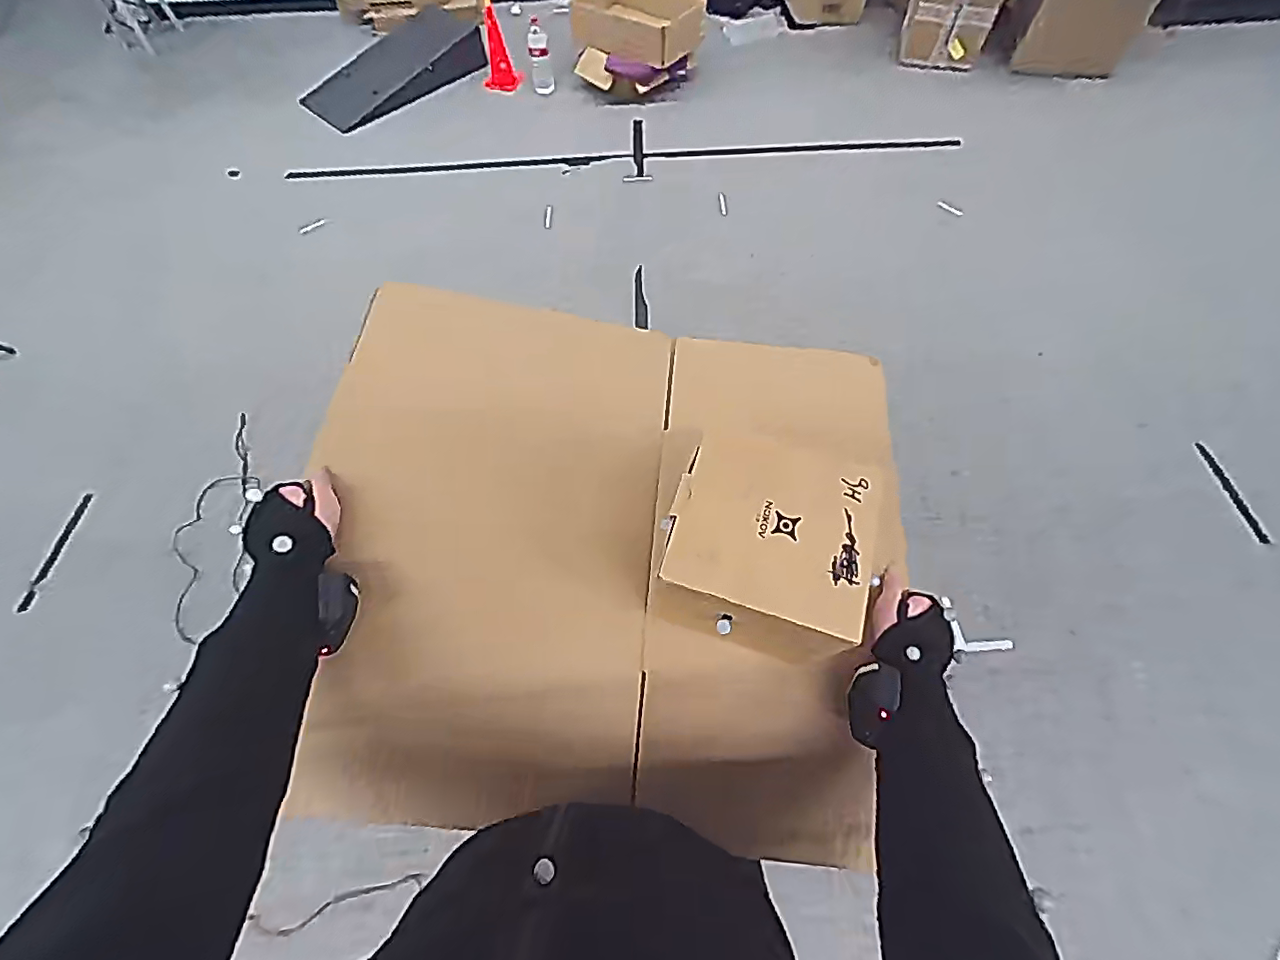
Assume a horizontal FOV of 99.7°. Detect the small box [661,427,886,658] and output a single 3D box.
[{"bbox_3d":[0.126,0.074,0.561,0.179,0.176,0.168,16,66,8],"label":"small box"}]
